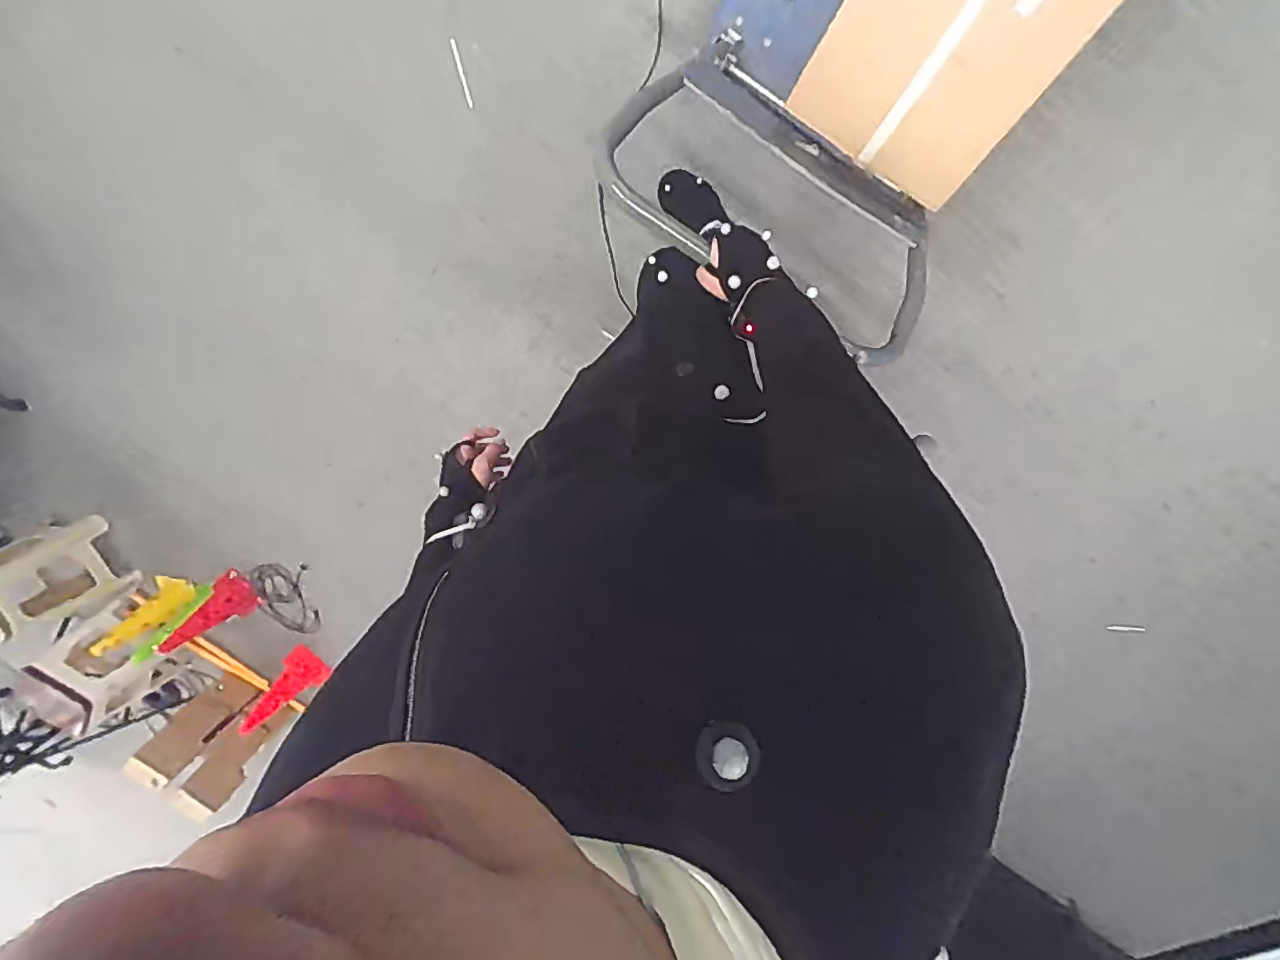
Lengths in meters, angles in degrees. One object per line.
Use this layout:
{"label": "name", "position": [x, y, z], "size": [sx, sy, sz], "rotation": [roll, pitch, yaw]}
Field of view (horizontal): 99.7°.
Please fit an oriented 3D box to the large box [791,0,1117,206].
{"label": "large box", "position": [0.501, -0.743, 0.867], "size": [0.320, 0.320, 0.408], "rotation": [31, 135, -5]}
